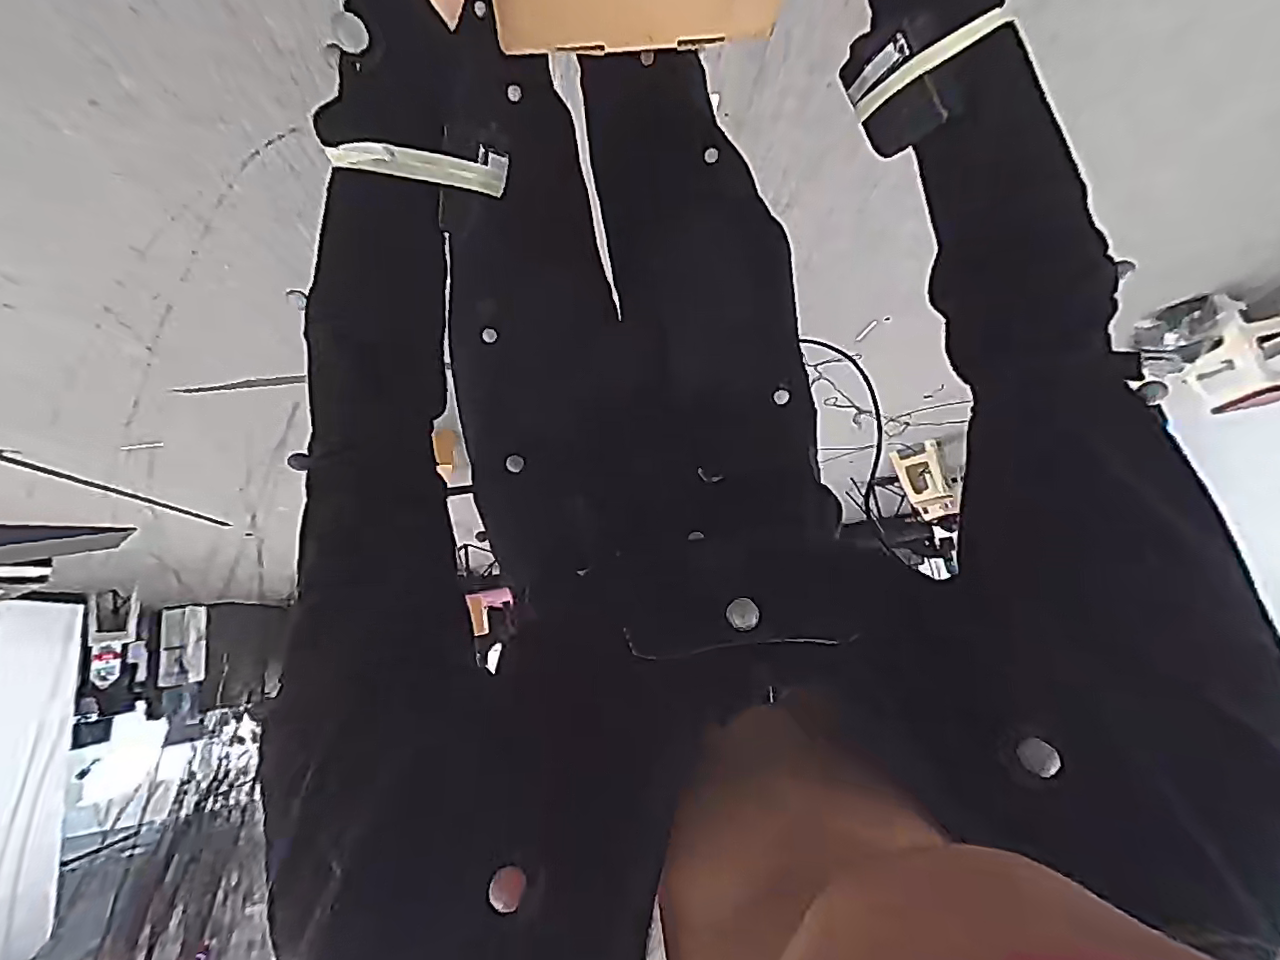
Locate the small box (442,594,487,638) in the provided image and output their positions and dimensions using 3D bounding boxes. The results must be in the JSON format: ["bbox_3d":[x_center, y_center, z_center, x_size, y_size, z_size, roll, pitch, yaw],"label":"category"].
[{"bbox_3d":[-0.815,0.634,2.511,0.179,0.176,0.168,-8,166,-11],"label":"small box"}]

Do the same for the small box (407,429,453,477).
[{"bbox_3d":[-0.954,-0.125,2.445,0.179,0.176,0.168,-4,164,-26],"label":"small box"}]
